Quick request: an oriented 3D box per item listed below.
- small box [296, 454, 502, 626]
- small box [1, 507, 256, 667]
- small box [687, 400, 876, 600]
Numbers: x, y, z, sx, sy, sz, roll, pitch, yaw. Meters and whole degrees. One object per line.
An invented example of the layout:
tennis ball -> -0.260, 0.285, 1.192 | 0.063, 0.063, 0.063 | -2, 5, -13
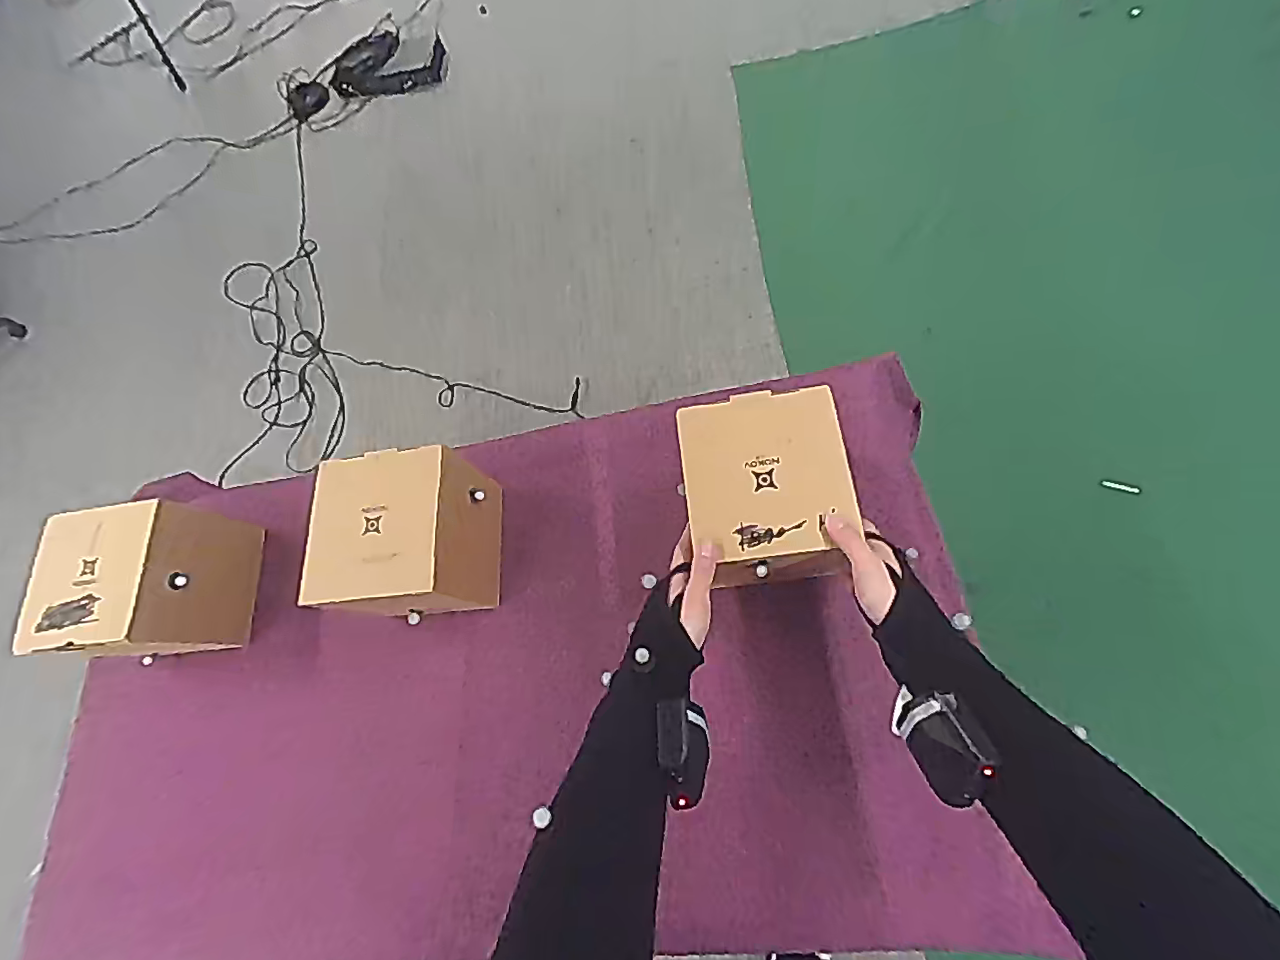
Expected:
small box -> -0.283, 0.084, 0.677 | 0.168, 0.176, 0.179 | -6, 71, 9
small box -> -0.654, 0.147, 0.716 | 0.168, 0.176, 0.179 | -7, 71, 7
small box -> 0.147, 0.033, 0.617 | 0.168, 0.176, 0.179 | -8, 71, 8
